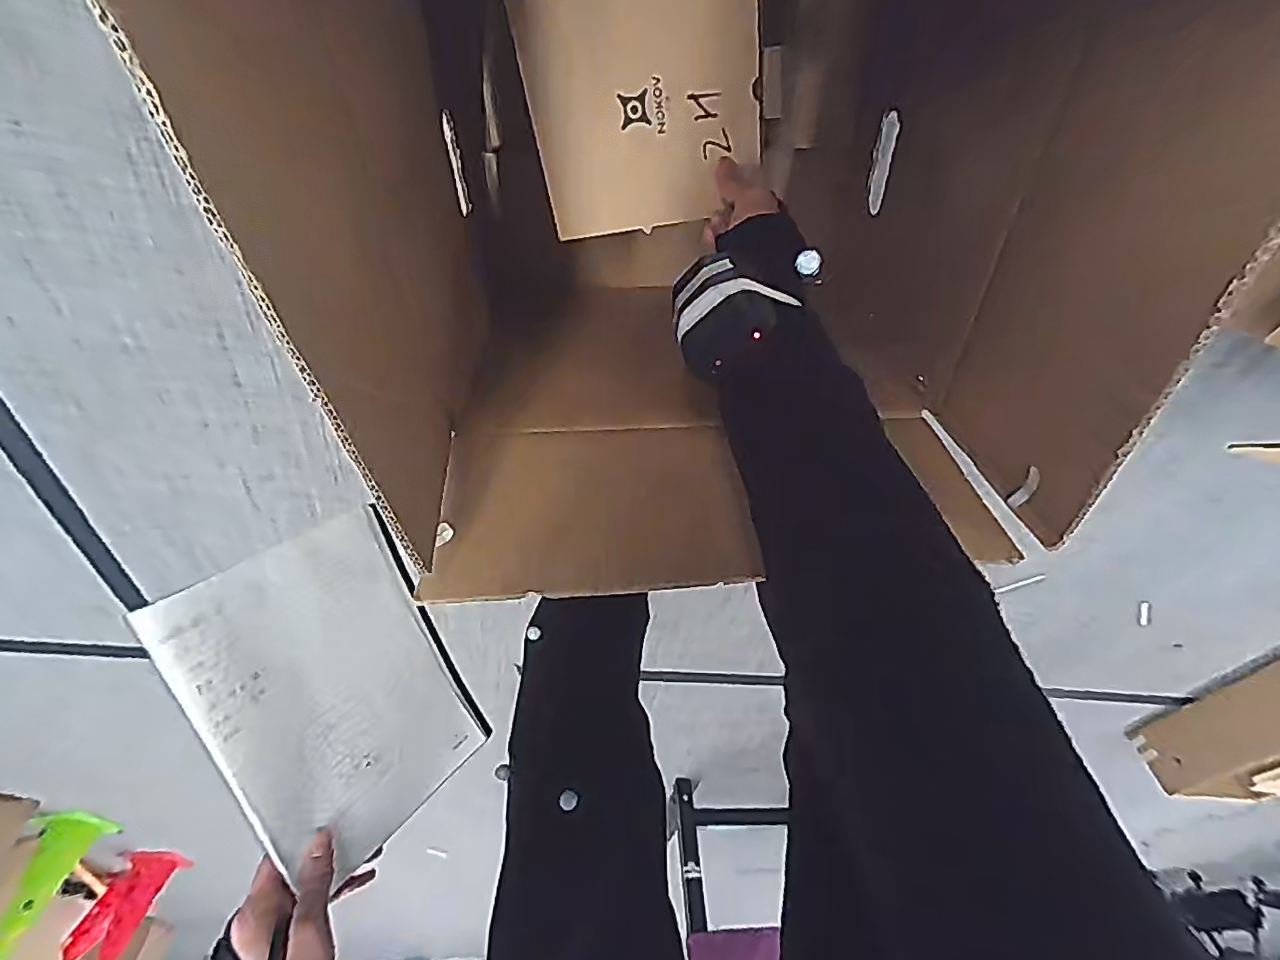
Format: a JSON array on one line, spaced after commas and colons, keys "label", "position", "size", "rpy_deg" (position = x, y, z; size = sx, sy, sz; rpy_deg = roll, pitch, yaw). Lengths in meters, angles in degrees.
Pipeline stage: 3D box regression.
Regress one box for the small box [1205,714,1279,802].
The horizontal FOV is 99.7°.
[{"label": "small box", "position": [1.789, 0.784, 1.532], "size": [0.179, 0.176, 0.168], "rpy_deg": [17, 128, -18]}]
